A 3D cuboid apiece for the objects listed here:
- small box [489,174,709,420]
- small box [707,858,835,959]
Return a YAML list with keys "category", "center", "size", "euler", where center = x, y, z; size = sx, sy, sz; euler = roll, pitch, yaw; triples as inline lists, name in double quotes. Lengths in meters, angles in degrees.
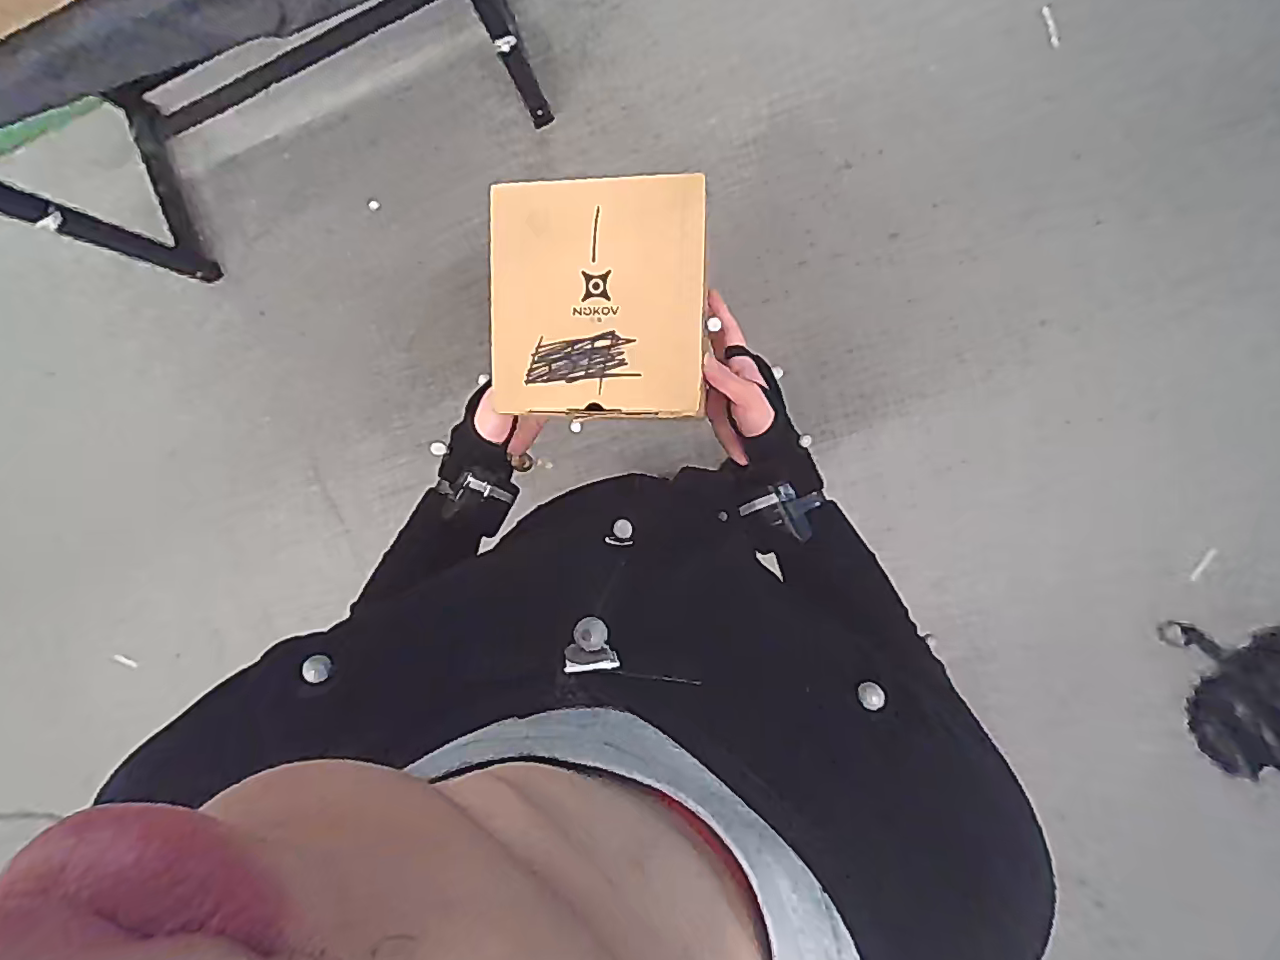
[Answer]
- category: "small box"
  center: [-0.024, -0.144, 0.489]
  size: [0.168, 0.176, 0.179]
  euler: [1, 94, 9]
- category: "small box"
  center: [0.220, 0.775, 0.883]
  size: [0.168, 0.176, 0.179]
  euler: [-24, 91, 8]
